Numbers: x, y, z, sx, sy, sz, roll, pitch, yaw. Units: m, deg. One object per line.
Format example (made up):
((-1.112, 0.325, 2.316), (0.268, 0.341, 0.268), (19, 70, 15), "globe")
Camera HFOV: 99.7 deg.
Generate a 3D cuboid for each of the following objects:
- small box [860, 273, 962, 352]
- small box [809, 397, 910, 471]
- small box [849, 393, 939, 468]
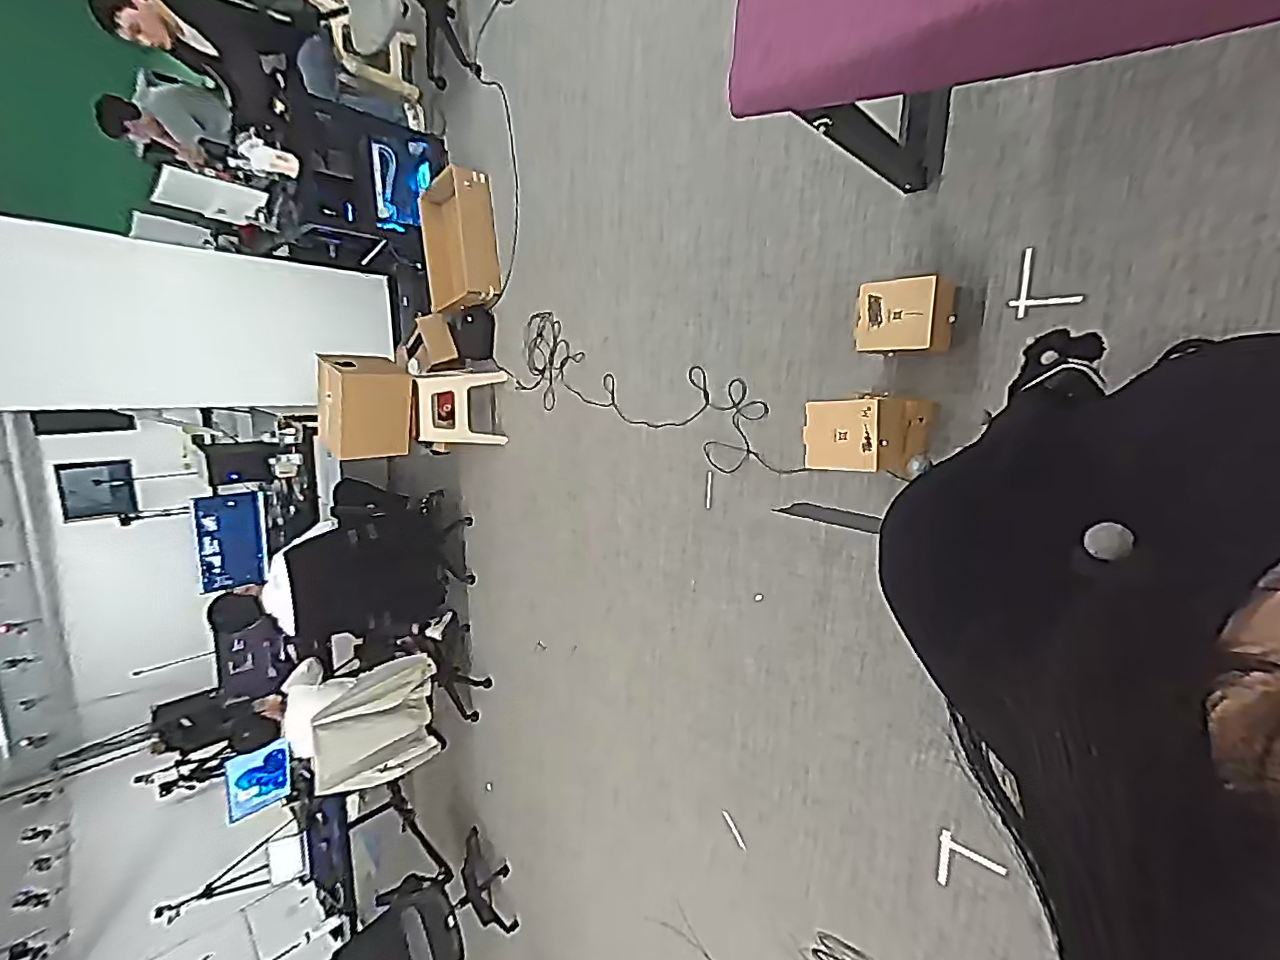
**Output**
((0.671, -0.406, 1.340), (0.179, 0.176, 0.168), (10, 104, 43), "small box")
((0.528, -0.113, 1.304), (0.179, 0.176, 0.168), (5, 100, 45), "small box")
((0.653, -0.136, 1.409), (0.179, 0.176, 0.168), (19, 109, 43), "small box")
